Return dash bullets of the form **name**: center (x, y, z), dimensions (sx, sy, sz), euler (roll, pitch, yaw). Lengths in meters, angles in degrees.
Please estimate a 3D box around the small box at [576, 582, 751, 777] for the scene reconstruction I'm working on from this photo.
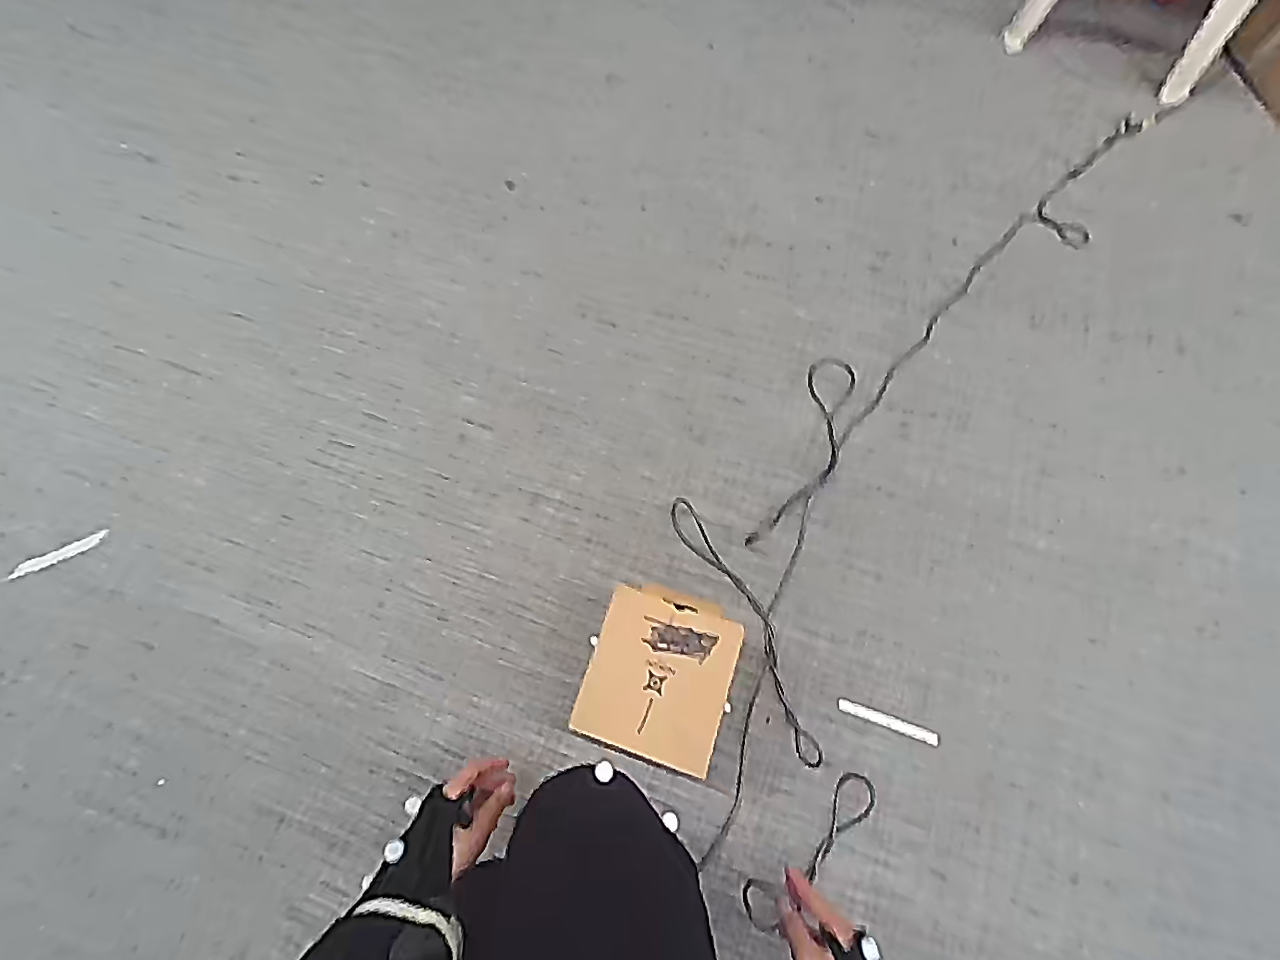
- **small box**: center (0.032, 0.253, 0.705), dimensions (0.168, 0.176, 0.179), euler (17, 72, 9)
